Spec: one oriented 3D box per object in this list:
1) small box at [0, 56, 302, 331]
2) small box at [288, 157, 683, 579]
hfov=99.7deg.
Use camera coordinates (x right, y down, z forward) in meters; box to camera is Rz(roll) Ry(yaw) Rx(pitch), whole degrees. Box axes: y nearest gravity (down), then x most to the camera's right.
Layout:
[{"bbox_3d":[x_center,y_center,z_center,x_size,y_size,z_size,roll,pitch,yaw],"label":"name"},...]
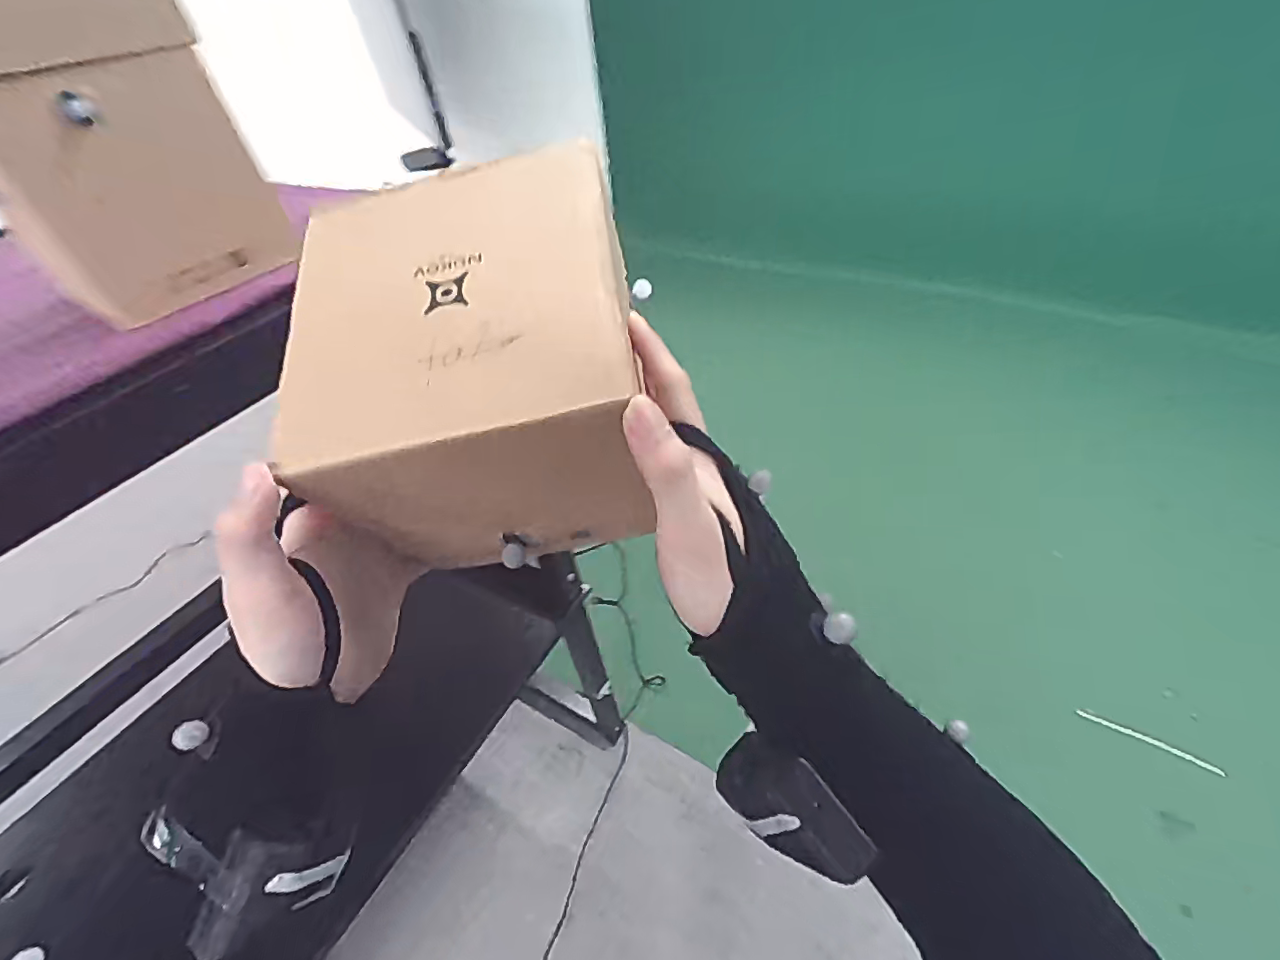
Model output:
[{"bbox_3d":[-0.453,-0.252,0.478,0.179,0.176,0.168,22,52,28],"label":"small box"},{"bbox_3d":[-0.072,-0.055,0.338,0.168,0.176,0.179,-11,63,6],"label":"small box"}]
